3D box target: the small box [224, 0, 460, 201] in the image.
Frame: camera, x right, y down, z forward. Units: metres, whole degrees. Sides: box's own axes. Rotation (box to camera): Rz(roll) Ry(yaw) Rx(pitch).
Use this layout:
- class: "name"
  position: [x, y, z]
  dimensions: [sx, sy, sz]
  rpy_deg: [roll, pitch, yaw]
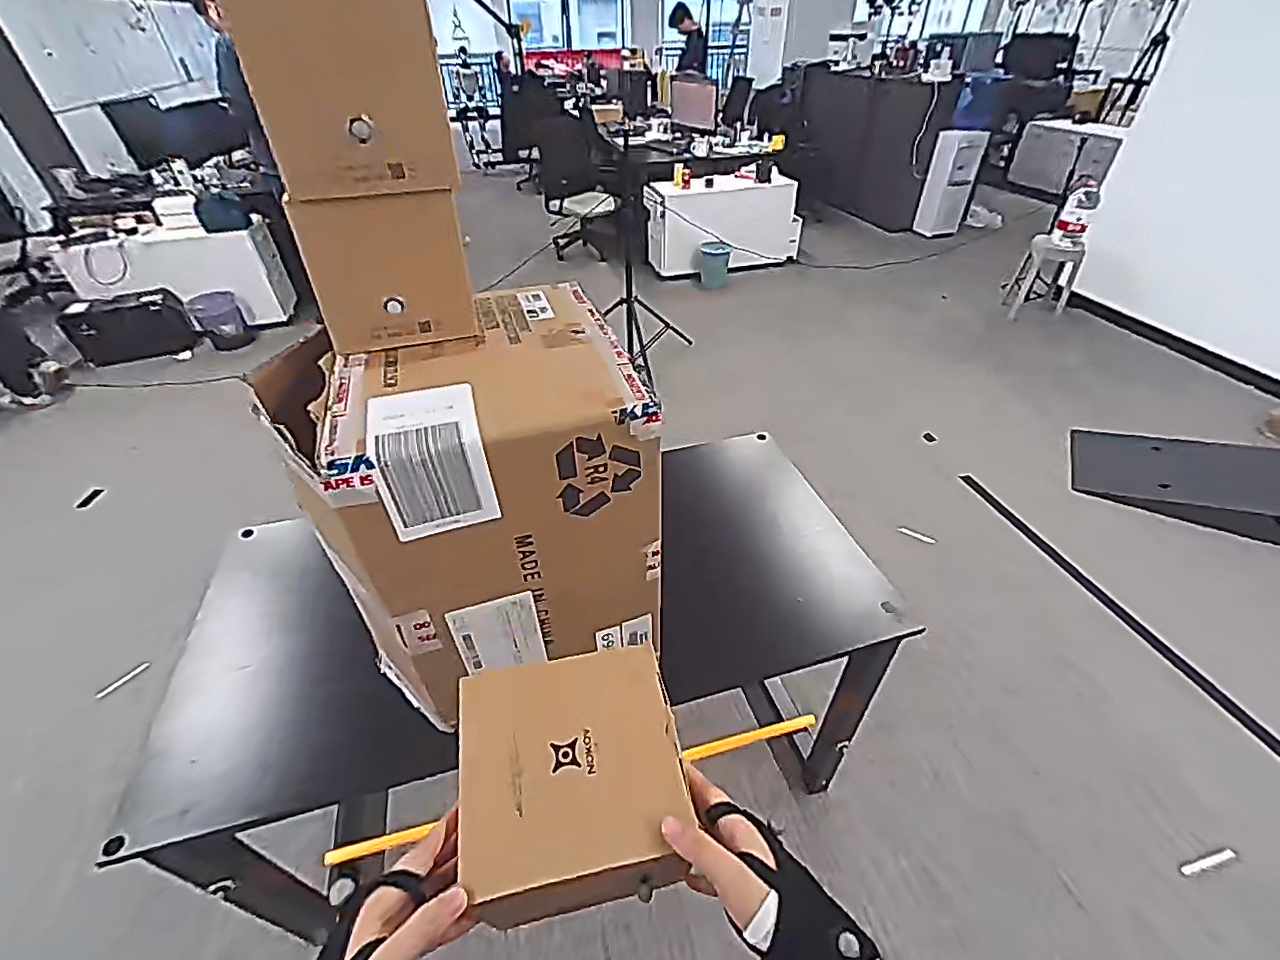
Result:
- class: "small box"
  position: [-0.299, -0.402, 0.571]
  dimensions: [0.168, 0.176, 0.179]
  rpy_deg: [-15, 40, -17]

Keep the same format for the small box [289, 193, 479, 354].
- class: "small box"
  position: [-0.307, -0.275, 0.676]
  dimensions: [0.168, 0.176, 0.179]
  rpy_deg: [-14, 40, -16]

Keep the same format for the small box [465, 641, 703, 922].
- class: "small box"
  position: [-0.055, 0.276, 0.498]
  dimensions: [0.179, 0.176, 0.168]
  rpy_deg: [-9, 46, -10]
